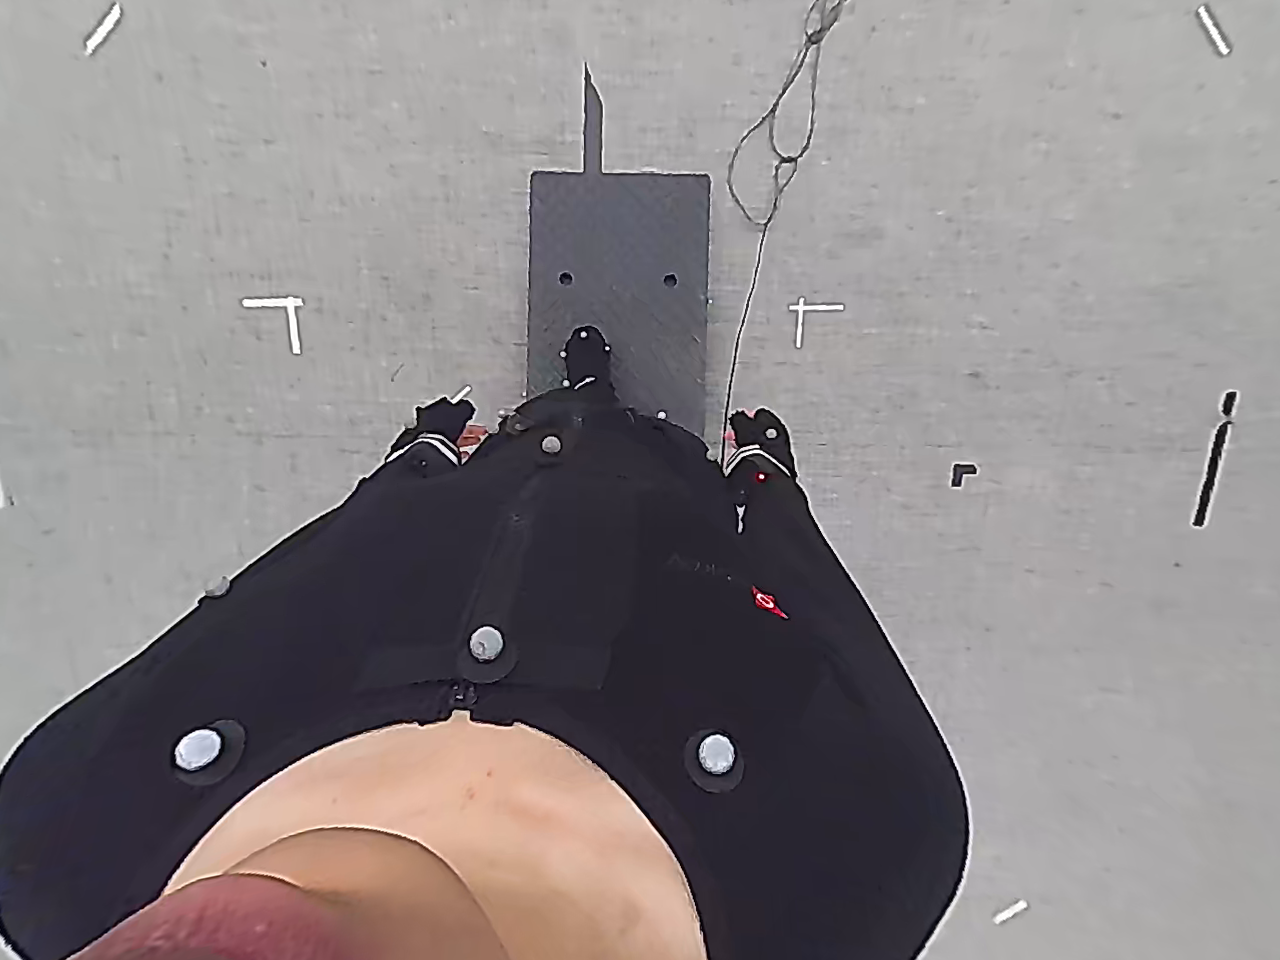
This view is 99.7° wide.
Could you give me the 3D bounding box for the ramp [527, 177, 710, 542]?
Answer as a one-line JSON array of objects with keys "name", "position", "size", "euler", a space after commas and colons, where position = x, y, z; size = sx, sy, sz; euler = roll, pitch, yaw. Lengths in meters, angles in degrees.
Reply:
[{"name": "ramp", "position": [-0.061, -0.331, 1.479], "size": [0.509, 0.206, 0.991], "euler": [0, 100, 2]}]
